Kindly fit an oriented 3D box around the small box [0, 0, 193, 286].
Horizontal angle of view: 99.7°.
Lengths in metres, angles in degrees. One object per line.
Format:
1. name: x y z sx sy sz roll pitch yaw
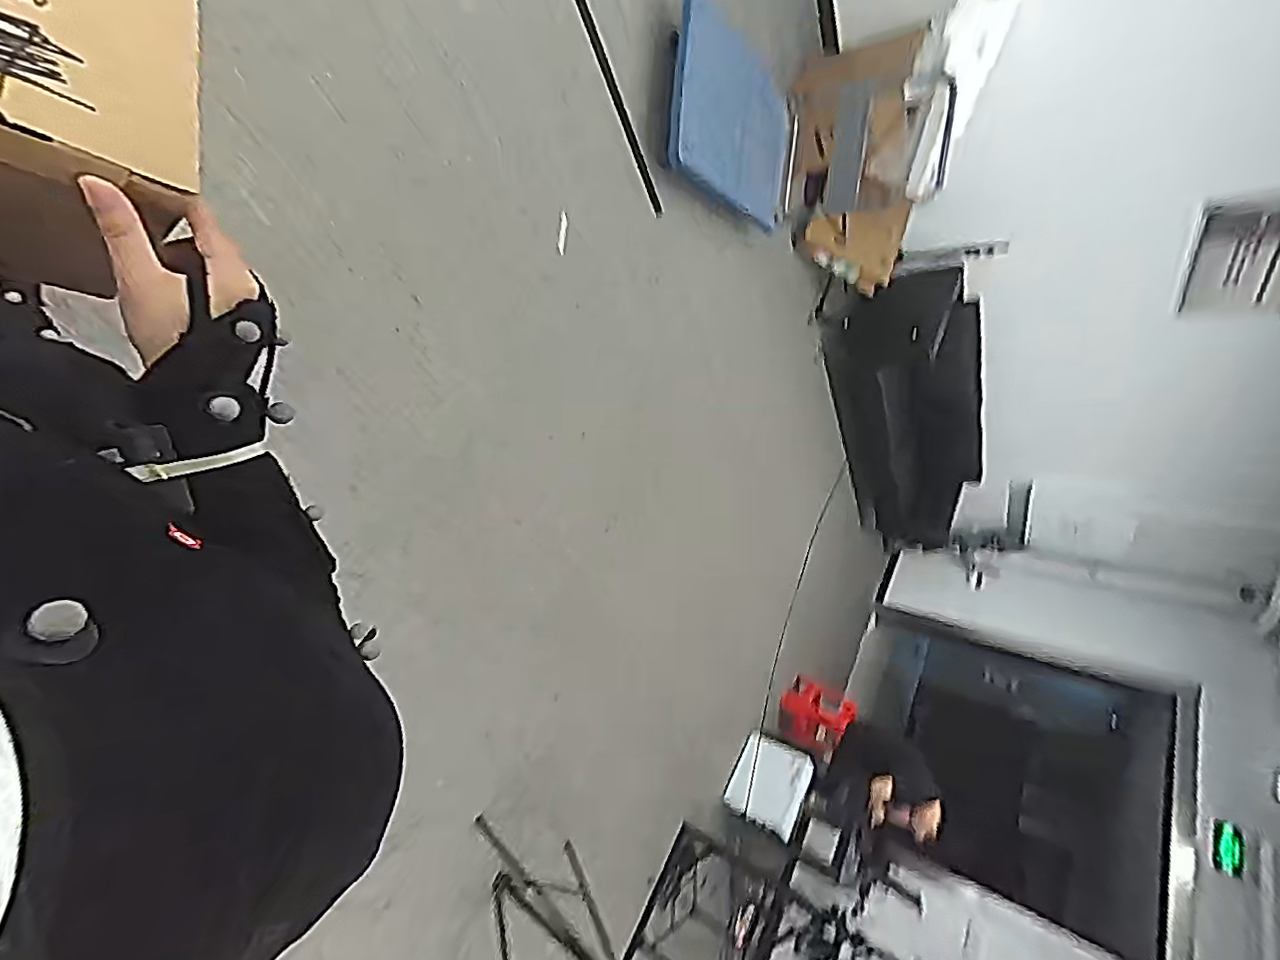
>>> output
1. small box: -0.383 -0.238 0.304 0.168 0.176 0.179 4 76 -57
